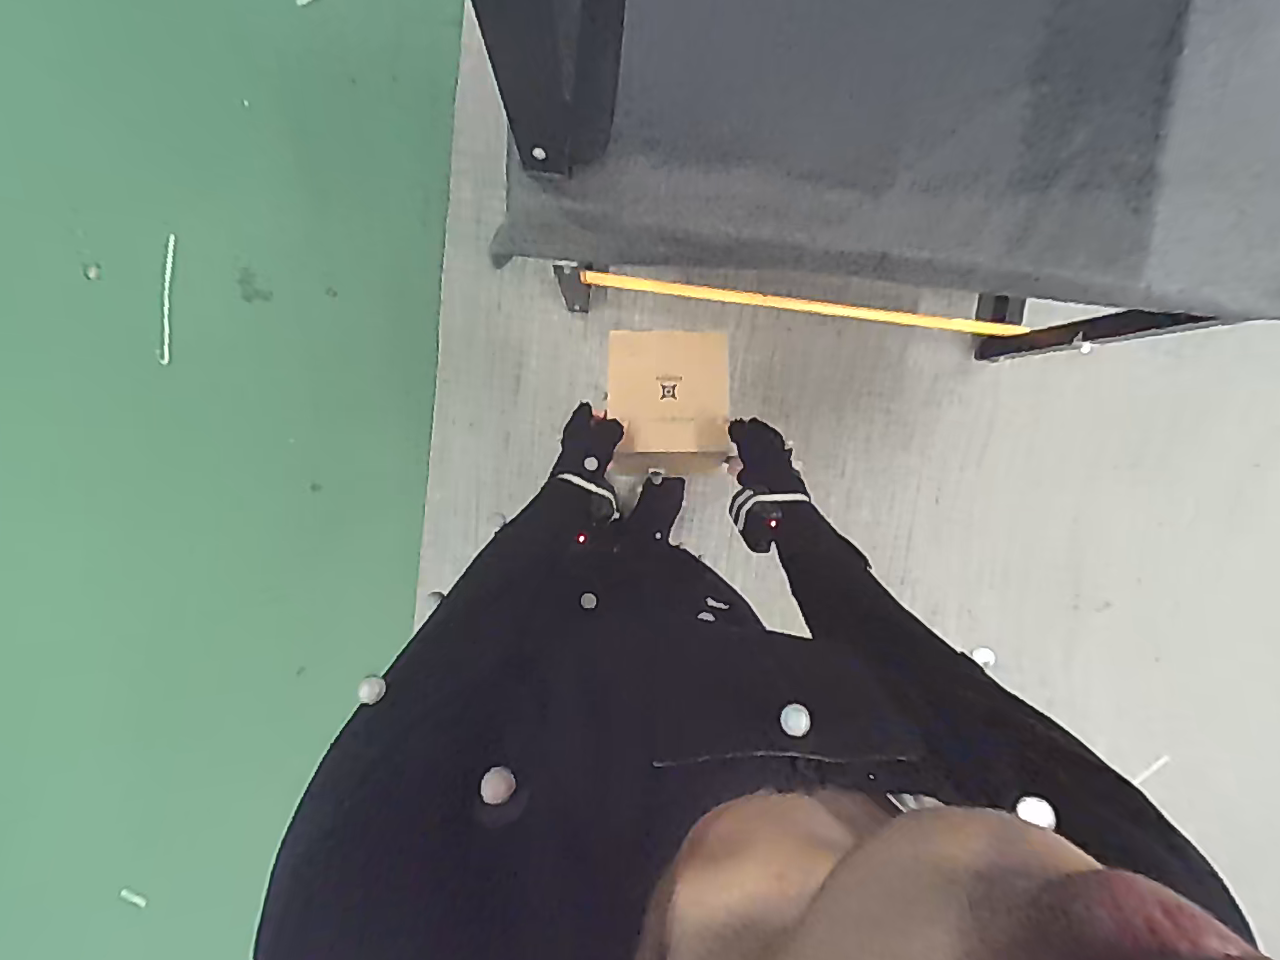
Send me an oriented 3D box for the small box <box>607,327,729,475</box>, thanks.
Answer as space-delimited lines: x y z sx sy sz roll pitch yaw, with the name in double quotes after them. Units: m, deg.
0.038 -0.111 0.809 0.168 0.176 0.179 0 79 1 "small box"
